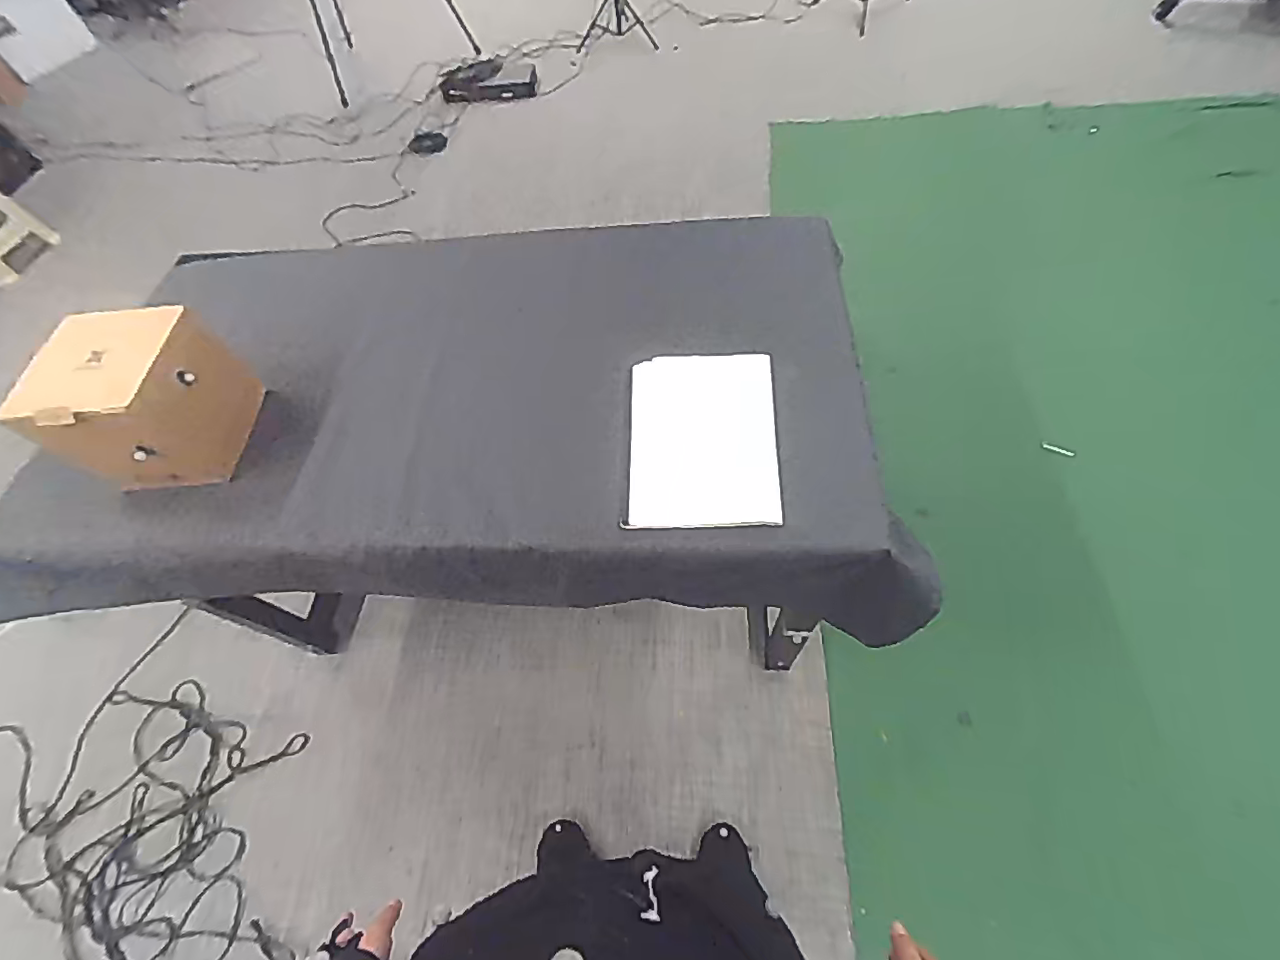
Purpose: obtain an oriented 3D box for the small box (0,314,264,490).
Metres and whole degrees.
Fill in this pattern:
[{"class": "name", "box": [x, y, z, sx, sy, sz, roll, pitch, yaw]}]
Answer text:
[{"class": "small box", "box": [-0.659, -0.096, 0.733, 0.168, 0.176, 0.179, -4, 57, 2]}]
